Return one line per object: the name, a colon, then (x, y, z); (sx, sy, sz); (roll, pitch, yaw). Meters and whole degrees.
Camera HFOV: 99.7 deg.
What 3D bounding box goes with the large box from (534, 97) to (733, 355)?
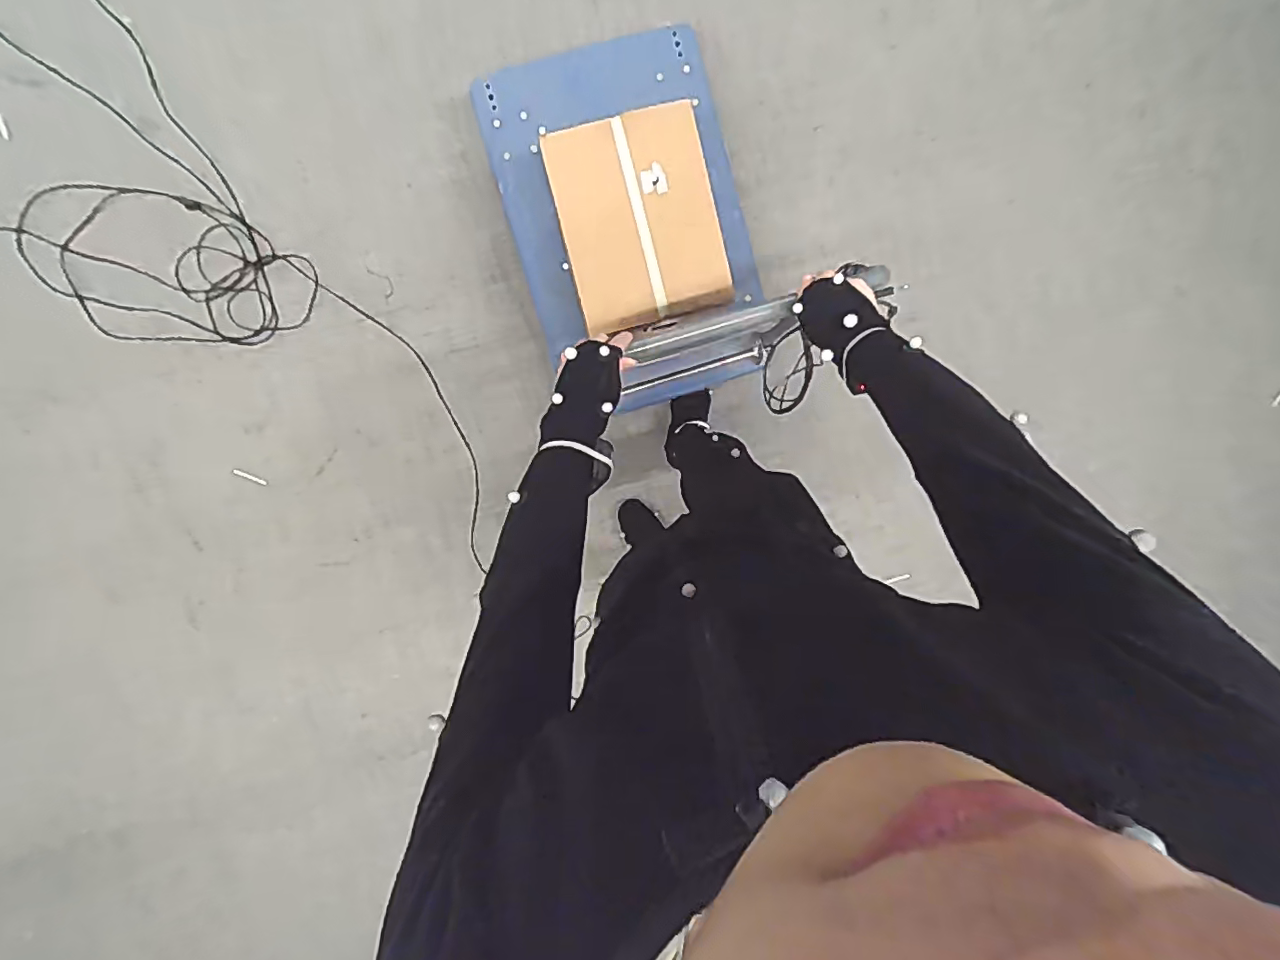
large box: (-0.015, -0.534, 1.219); (0.320, 0.320, 0.408); (-15, 96, -2)
